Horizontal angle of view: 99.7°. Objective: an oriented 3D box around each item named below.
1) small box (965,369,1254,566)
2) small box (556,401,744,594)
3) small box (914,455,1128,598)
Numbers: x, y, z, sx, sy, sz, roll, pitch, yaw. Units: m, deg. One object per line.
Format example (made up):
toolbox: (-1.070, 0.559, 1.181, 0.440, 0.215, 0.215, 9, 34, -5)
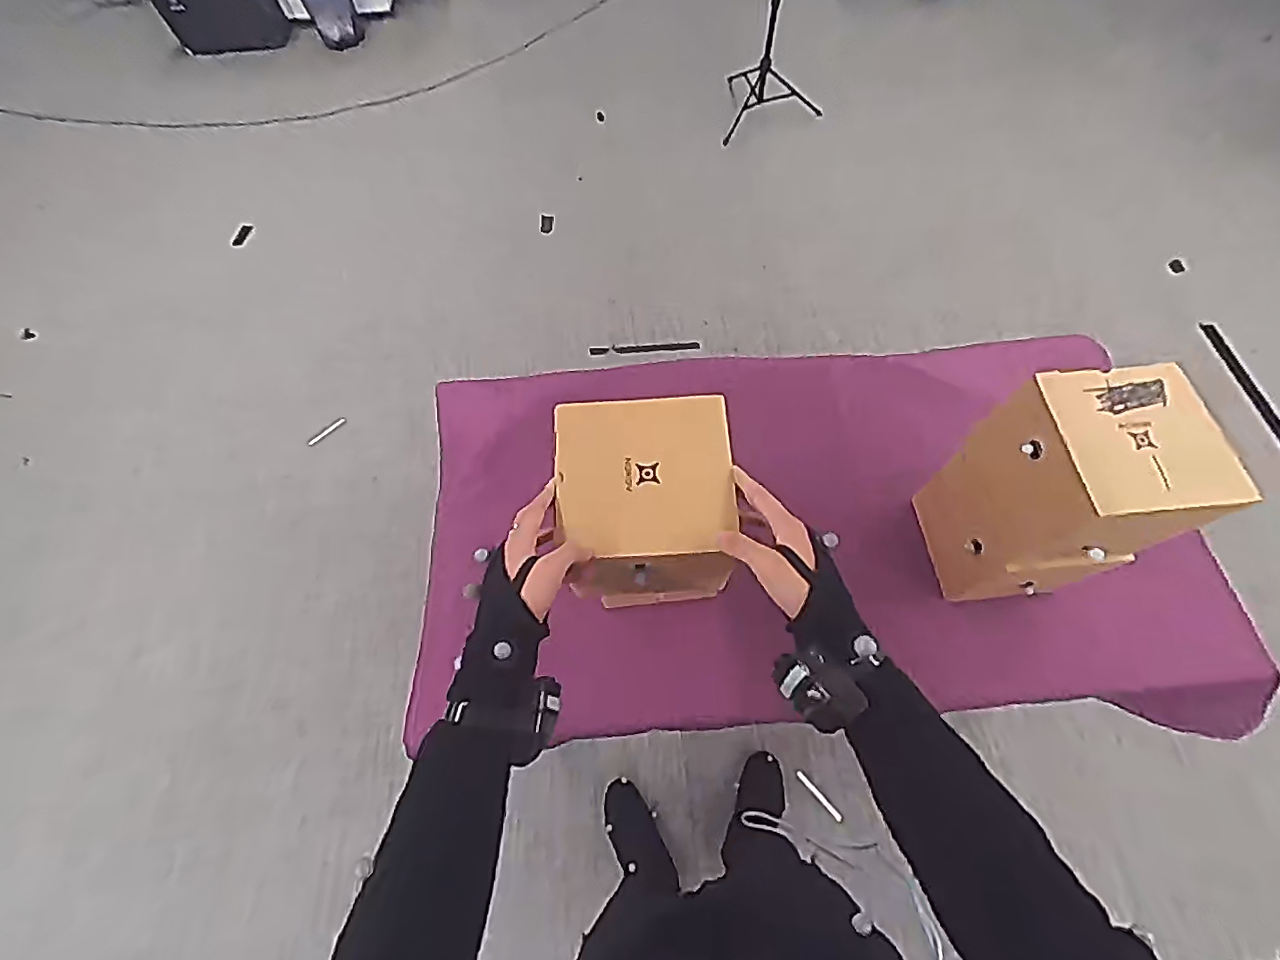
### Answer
small box: (0.530, -0.009, 0.648, 0.168, 0.176, 0.179, -5, 65, 0)
small box: (0.009, 0.028, 0.599, 0.179, 0.176, 0.168, -4, 67, 2)
small box: (0.536, 0.070, 0.793, 0.168, 0.176, 0.179, -5, 64, 0)
